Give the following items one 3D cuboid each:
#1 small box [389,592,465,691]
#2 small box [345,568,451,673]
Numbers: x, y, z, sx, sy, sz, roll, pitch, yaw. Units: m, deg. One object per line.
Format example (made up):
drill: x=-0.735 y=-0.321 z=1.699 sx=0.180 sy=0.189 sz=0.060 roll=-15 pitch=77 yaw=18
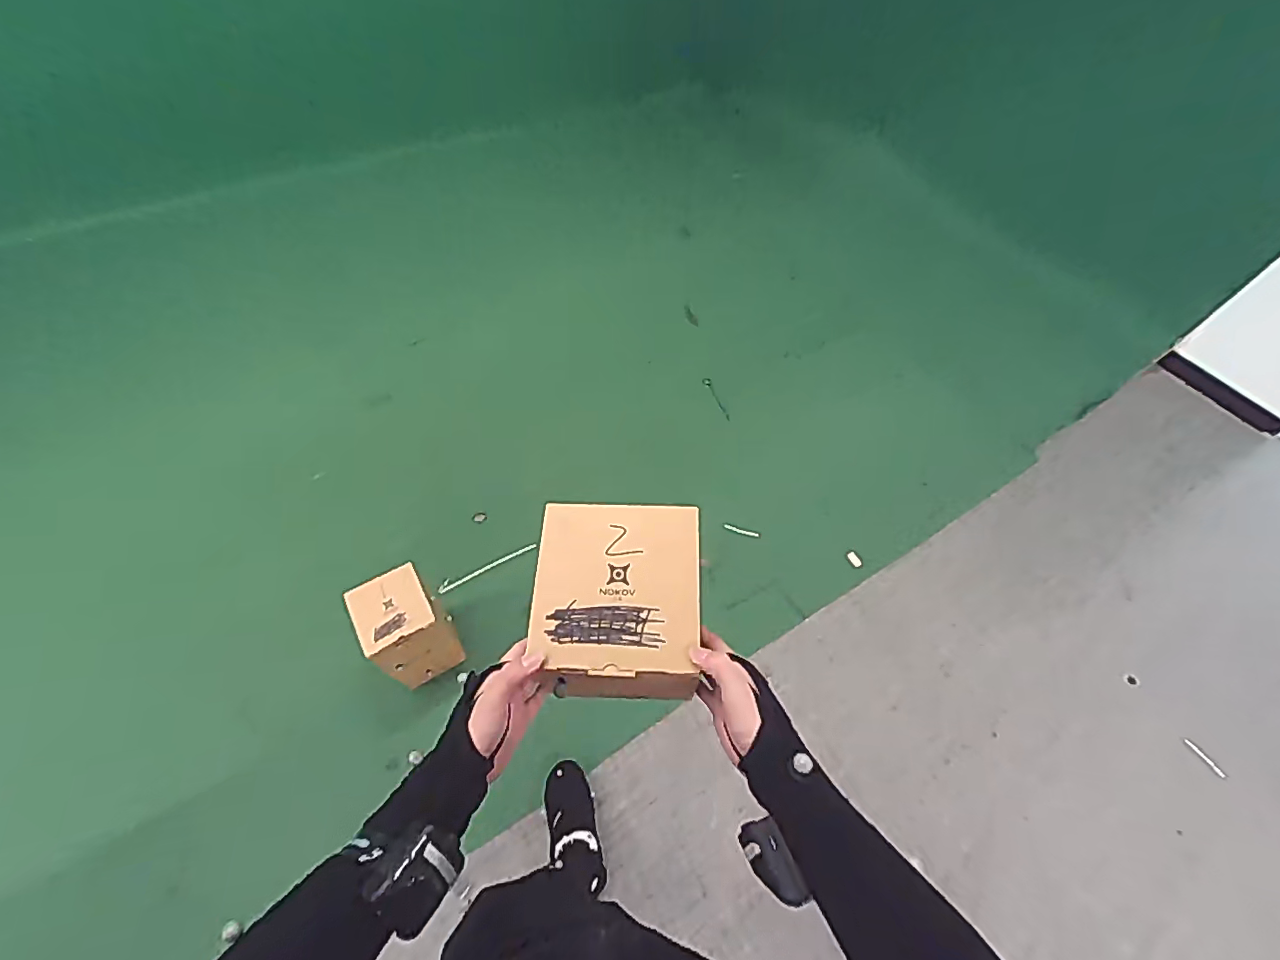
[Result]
small box: x=-0.595 y=0.440 z=1.464 sx=0.168 sy=0.176 sz=0.179 roll=-27 pitch=63 yaw=-19
small box: x=-0.586 y=0.352 z=1.326 sx=0.168 sy=0.176 sz=0.179 roll=-26 pitch=62 yaw=-19
